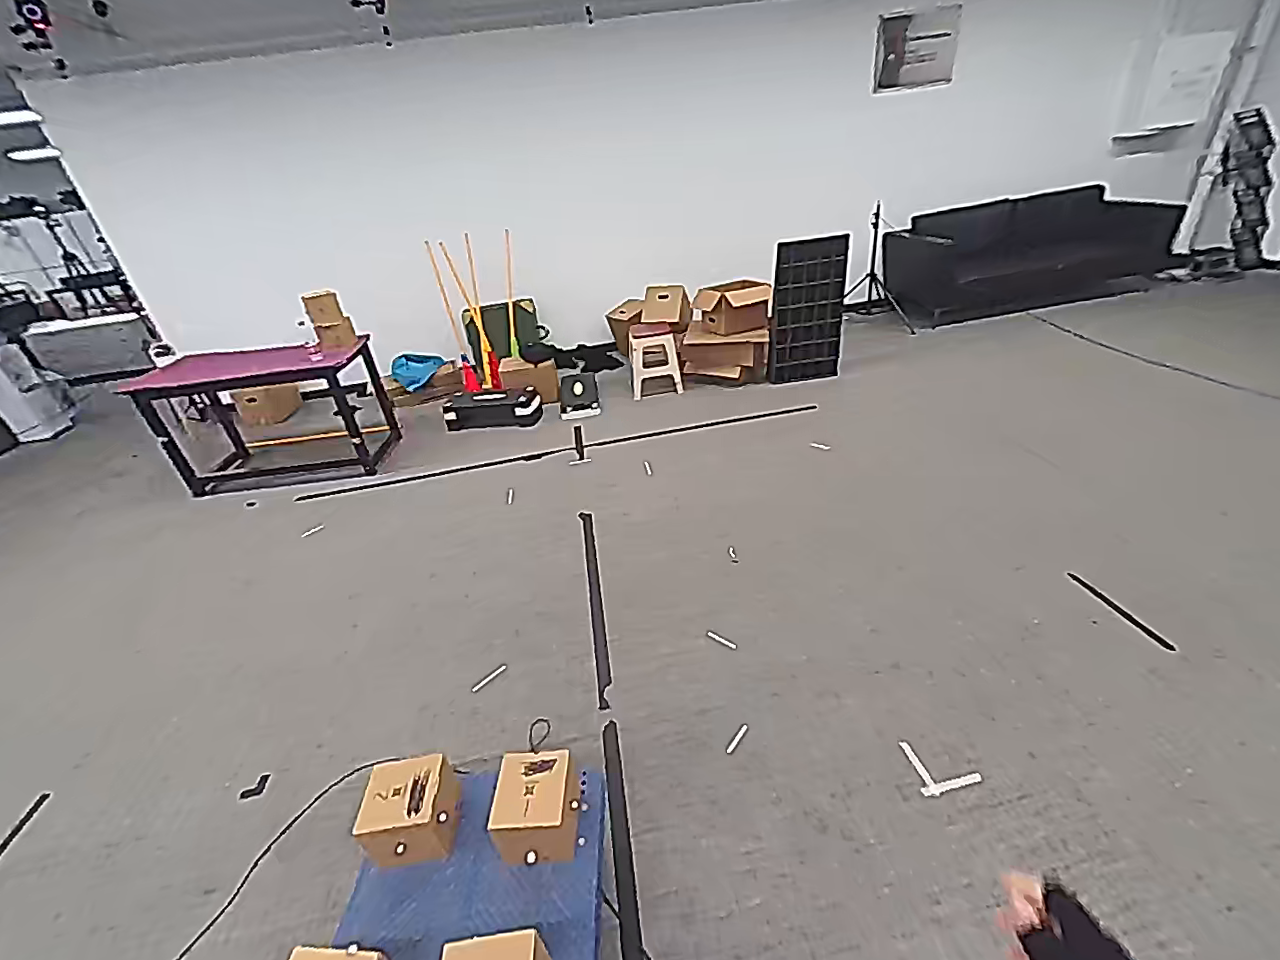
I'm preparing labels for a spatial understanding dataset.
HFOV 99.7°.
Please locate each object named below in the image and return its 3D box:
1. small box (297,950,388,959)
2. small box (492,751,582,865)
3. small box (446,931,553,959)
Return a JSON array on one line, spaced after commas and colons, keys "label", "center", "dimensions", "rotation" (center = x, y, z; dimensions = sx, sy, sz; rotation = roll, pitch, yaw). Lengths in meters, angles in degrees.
[{"label": "small box", "center": [-0.560, 1.002, 0.990], "dimensions": [0.179, 0.176, 0.168], "rotation": [-2, 31, 6]}, {"label": "small box", "center": [-0.235, 0.778, 1.285], "dimensions": [0.168, 0.176, 0.179], "rotation": [-6, 32, 4]}, {"label": "small box", "center": [-0.254, 0.965, 0.980], "dimensions": [0.179, 0.176, 0.168], "rotation": [-9, 31, -1]}]
